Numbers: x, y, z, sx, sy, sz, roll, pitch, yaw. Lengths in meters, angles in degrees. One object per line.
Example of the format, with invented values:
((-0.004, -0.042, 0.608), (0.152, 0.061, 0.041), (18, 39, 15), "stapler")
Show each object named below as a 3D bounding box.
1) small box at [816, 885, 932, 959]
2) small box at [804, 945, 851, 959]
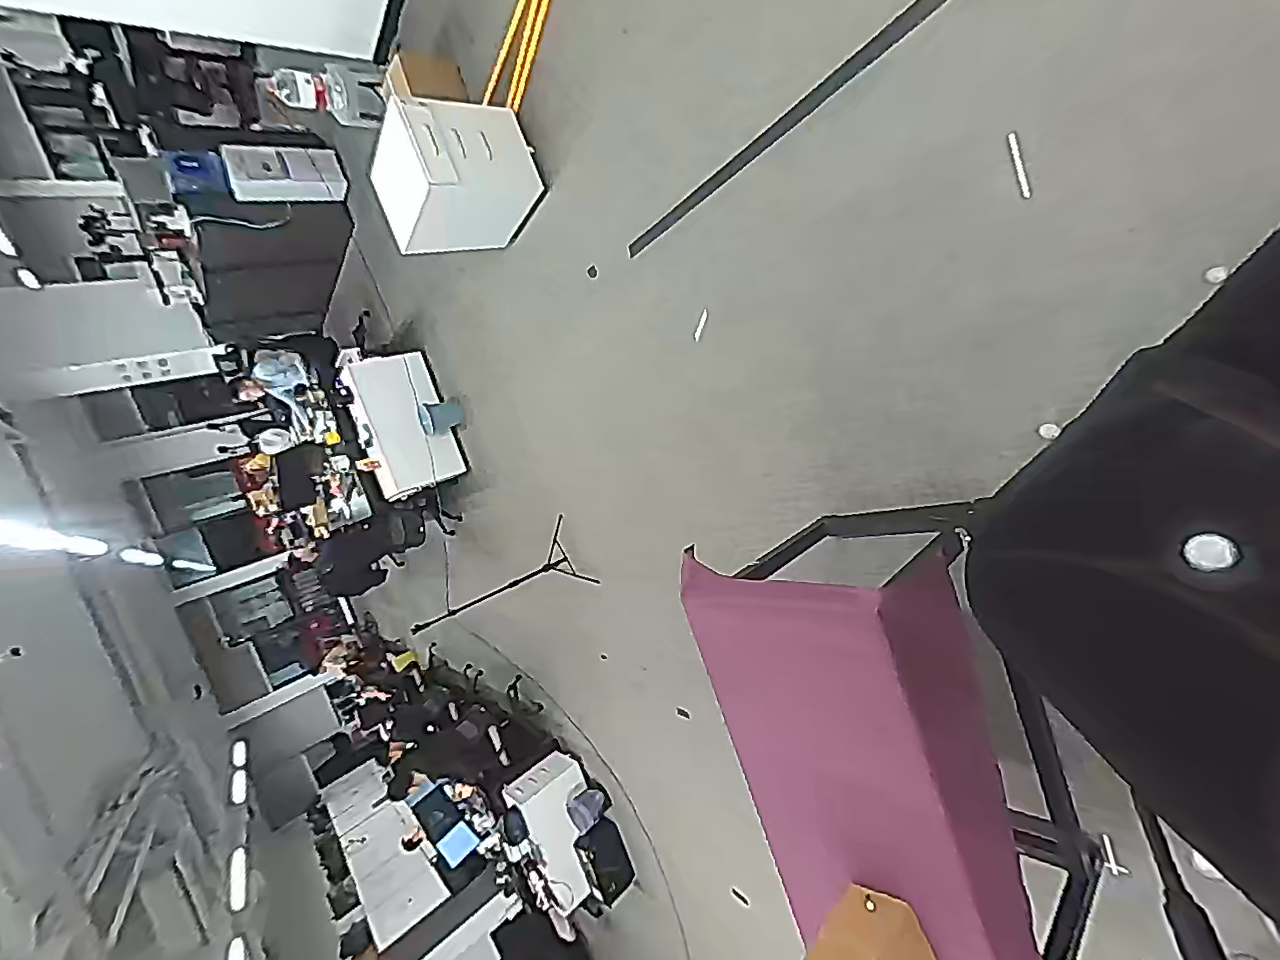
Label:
((0.558, 1.115, 1.270), (0.168, 0.176, 0.179), (-30, 84, 53), "small box")
((0.436, 1.175, 1.176), (0.179, 0.176, 0.168), (-32, 83, 53), "small box")
